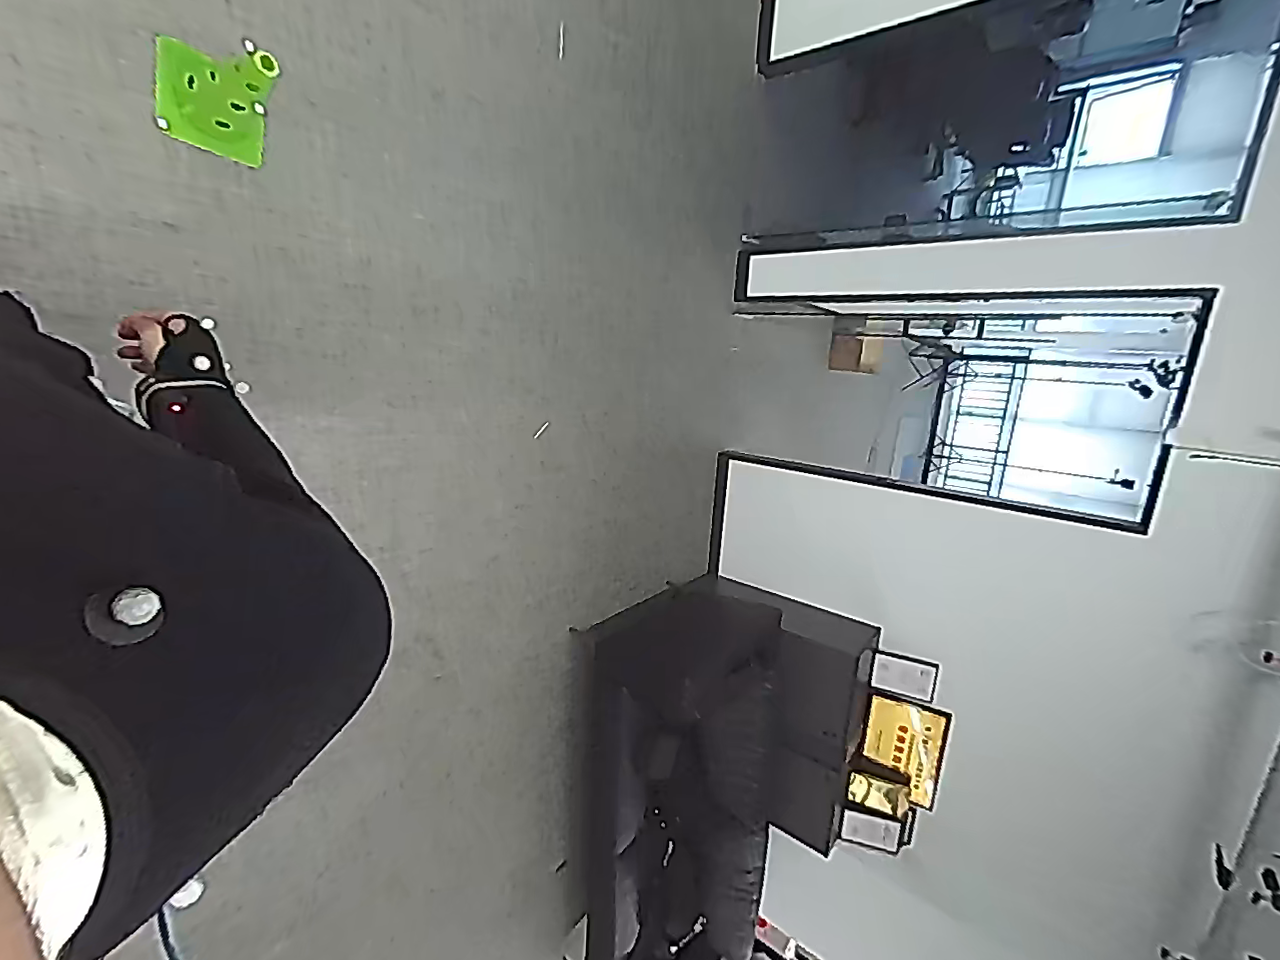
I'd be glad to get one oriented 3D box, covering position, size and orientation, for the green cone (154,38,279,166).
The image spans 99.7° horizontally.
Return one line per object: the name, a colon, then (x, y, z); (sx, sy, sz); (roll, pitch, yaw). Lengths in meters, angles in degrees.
green cone: (-0.850, -0.831, 1.141); (0.200, 0.368, 0.202); (-4, 102, -53)
